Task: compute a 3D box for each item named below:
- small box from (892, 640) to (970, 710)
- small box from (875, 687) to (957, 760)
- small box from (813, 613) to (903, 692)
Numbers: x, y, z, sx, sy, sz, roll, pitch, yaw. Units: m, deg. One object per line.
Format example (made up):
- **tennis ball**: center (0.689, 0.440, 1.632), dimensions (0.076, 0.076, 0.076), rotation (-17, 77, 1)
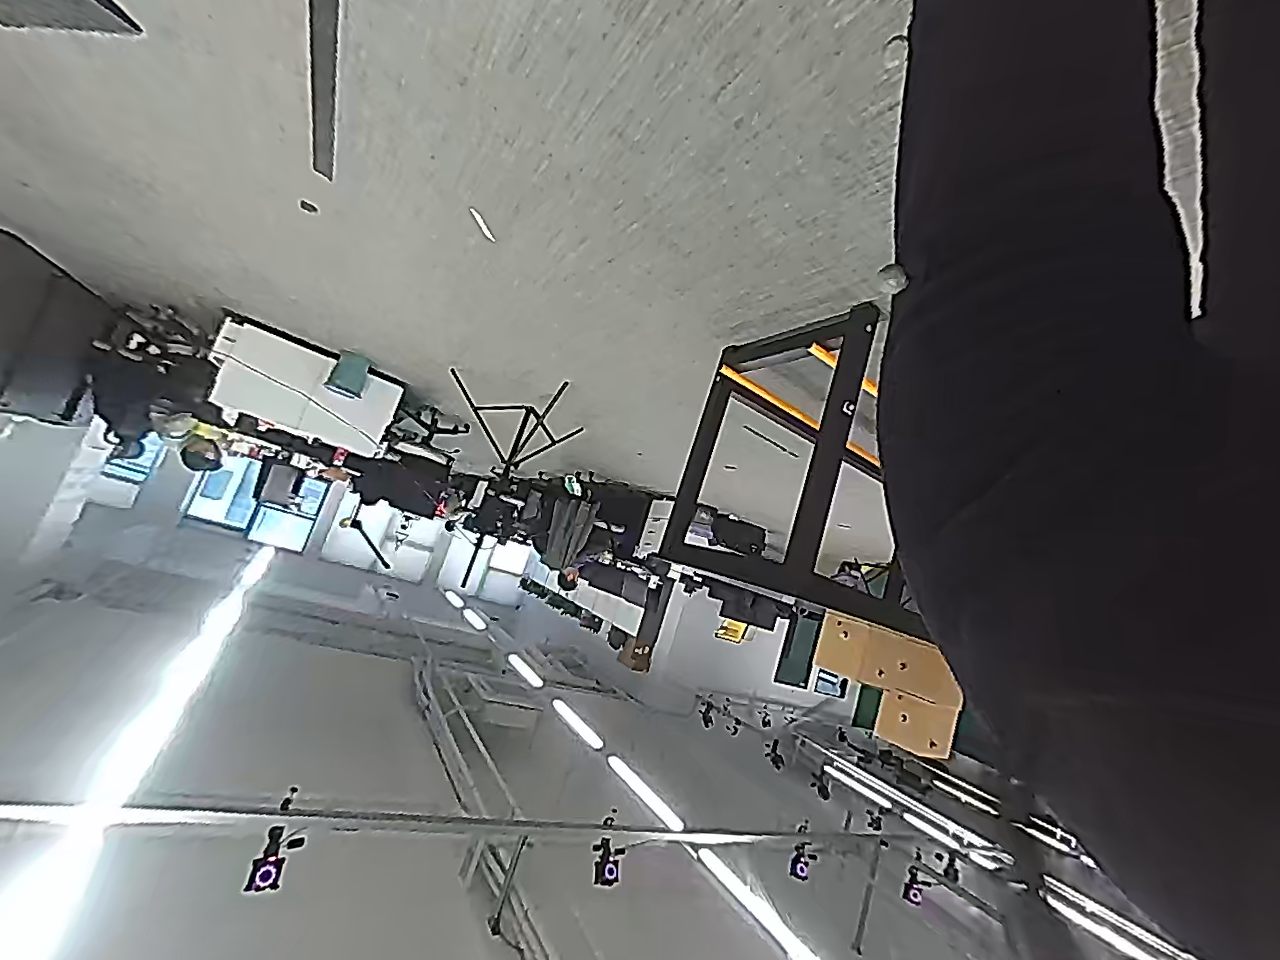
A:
- **small box**: center (0.962, 0.640, 1.800), dimensions (0.168, 0.176, 0.179), rotation (22, 170, -32)
- **small box**: center (0.912, 0.797, 1.784), dimensions (0.179, 0.176, 0.168), rotation (22, 171, -32)
- **small box**: center (0.662, 0.517, 1.635), dimensions (0.179, 0.176, 0.168), rotation (23, 170, -27)
